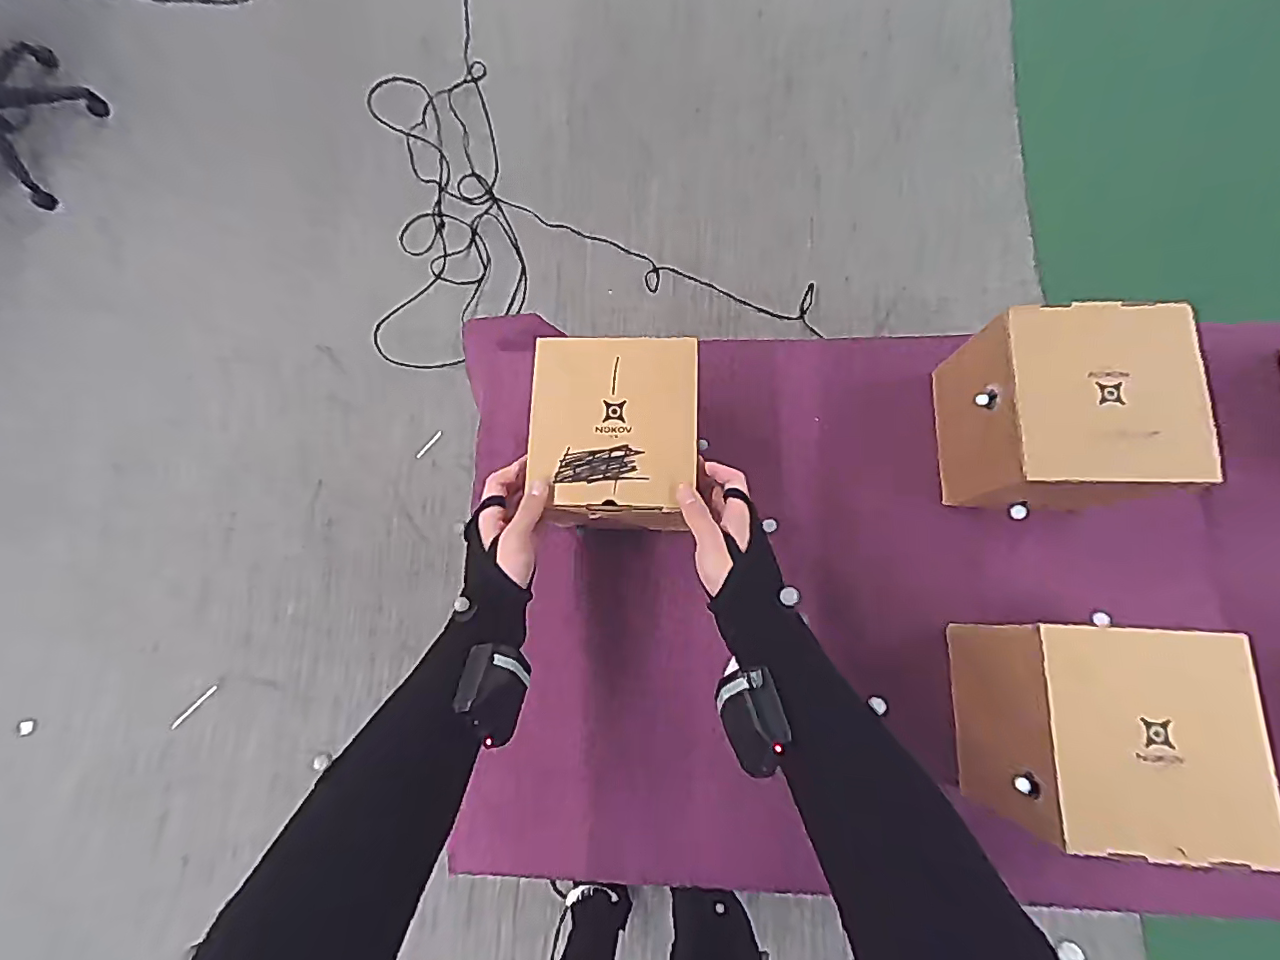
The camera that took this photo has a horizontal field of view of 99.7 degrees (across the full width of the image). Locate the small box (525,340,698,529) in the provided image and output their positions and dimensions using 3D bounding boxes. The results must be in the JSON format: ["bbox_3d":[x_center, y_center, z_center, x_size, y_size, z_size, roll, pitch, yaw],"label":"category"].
[{"bbox_3d":[-0.020,-0.040,0.606,0.168,0.176,0.179,1,78,4],"label":"small box"}]

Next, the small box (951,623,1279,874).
[{"bbox_3d":[0.419,0.230,0.511,0.168,0.176,0.179,2,76,5],"label":"small box"}]

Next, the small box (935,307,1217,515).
[{"bbox_3d":[0.437,-0.063,0.577,0.168,0.176,0.179,1,79,5],"label":"small box"}]
